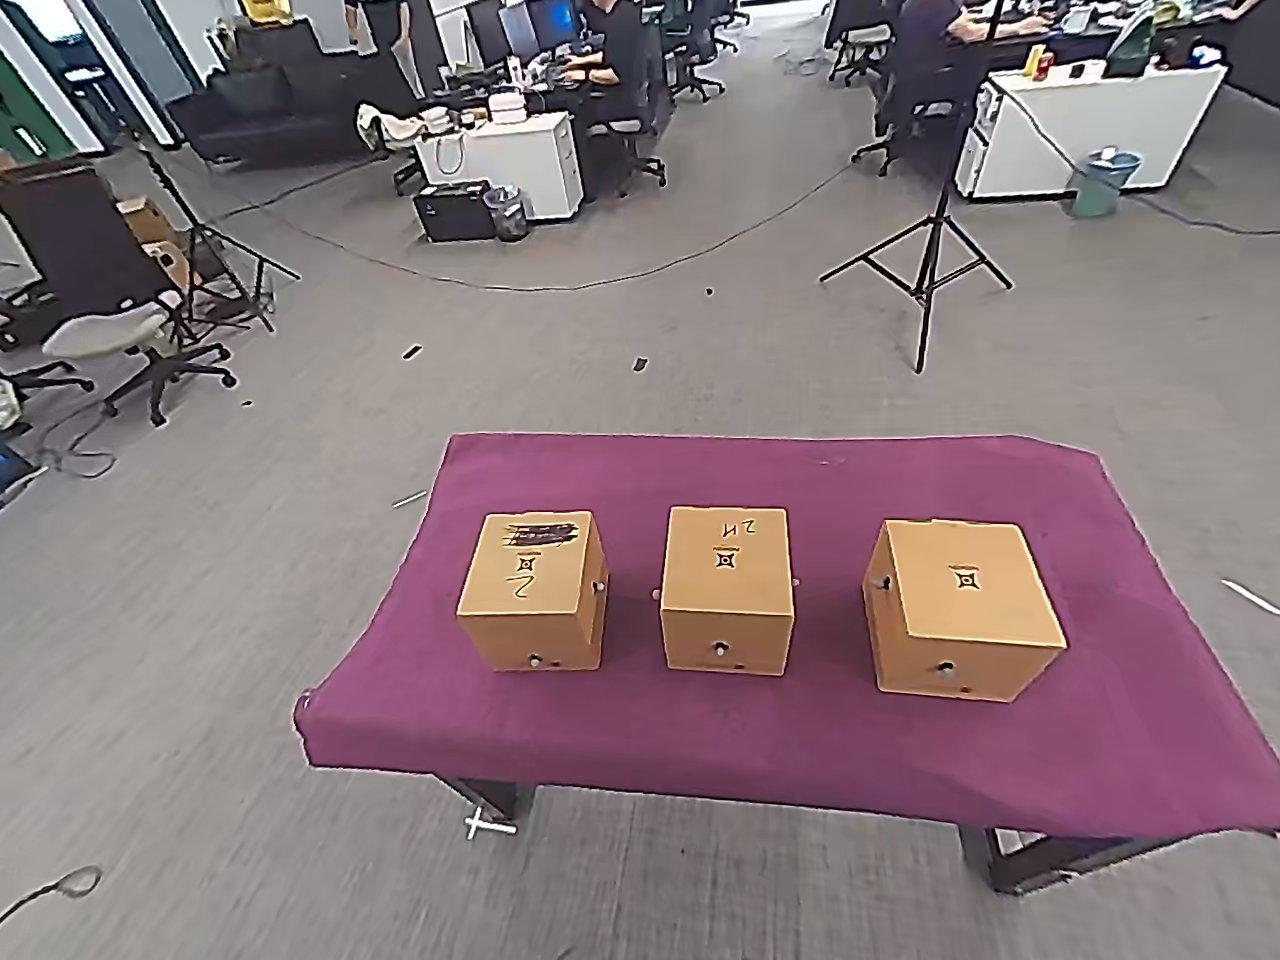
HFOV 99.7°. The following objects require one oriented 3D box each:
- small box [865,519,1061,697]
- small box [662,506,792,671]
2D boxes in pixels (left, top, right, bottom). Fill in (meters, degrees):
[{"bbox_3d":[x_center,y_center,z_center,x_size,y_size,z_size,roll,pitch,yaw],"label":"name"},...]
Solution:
[{"bbox_3d":[0.412,0.174,0.728,0.168,0.176,0.179,1,47,11],"label":"small box"},{"bbox_3d":[0.127,0.158,0.786,0.168,0.176,0.179,1,46,9],"label":"small box"}]
